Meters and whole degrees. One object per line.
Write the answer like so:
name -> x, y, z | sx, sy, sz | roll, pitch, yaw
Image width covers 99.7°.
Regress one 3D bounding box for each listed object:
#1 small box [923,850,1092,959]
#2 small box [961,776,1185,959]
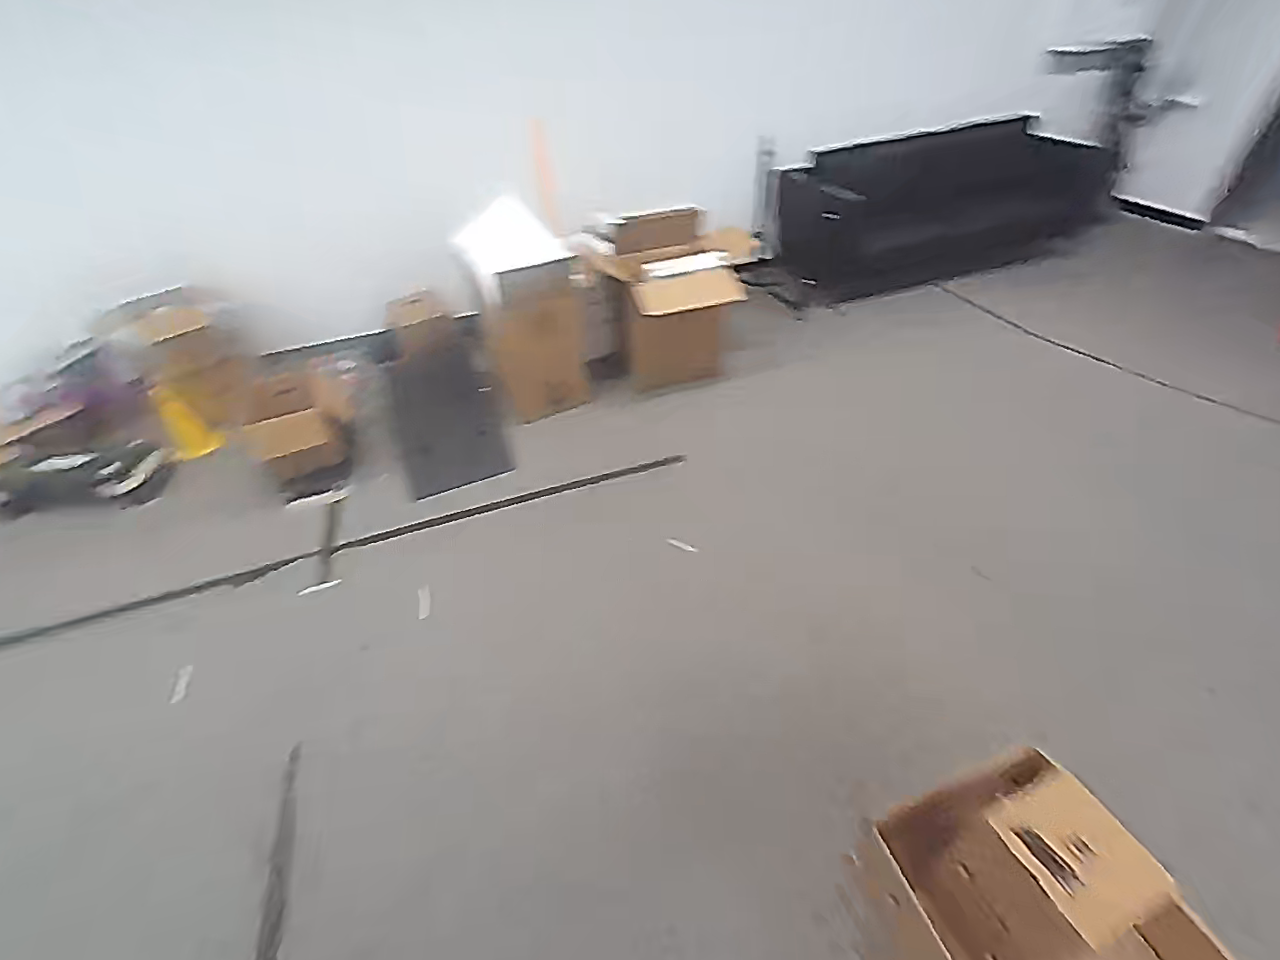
small box -> 0.614, 0.709, 0.896 | 0.168, 0.176, 0.179 | -17, 41, -16
small box -> 0.610, 0.580, 0.793 | 0.179, 0.176, 0.168 | -15, 42, -15
